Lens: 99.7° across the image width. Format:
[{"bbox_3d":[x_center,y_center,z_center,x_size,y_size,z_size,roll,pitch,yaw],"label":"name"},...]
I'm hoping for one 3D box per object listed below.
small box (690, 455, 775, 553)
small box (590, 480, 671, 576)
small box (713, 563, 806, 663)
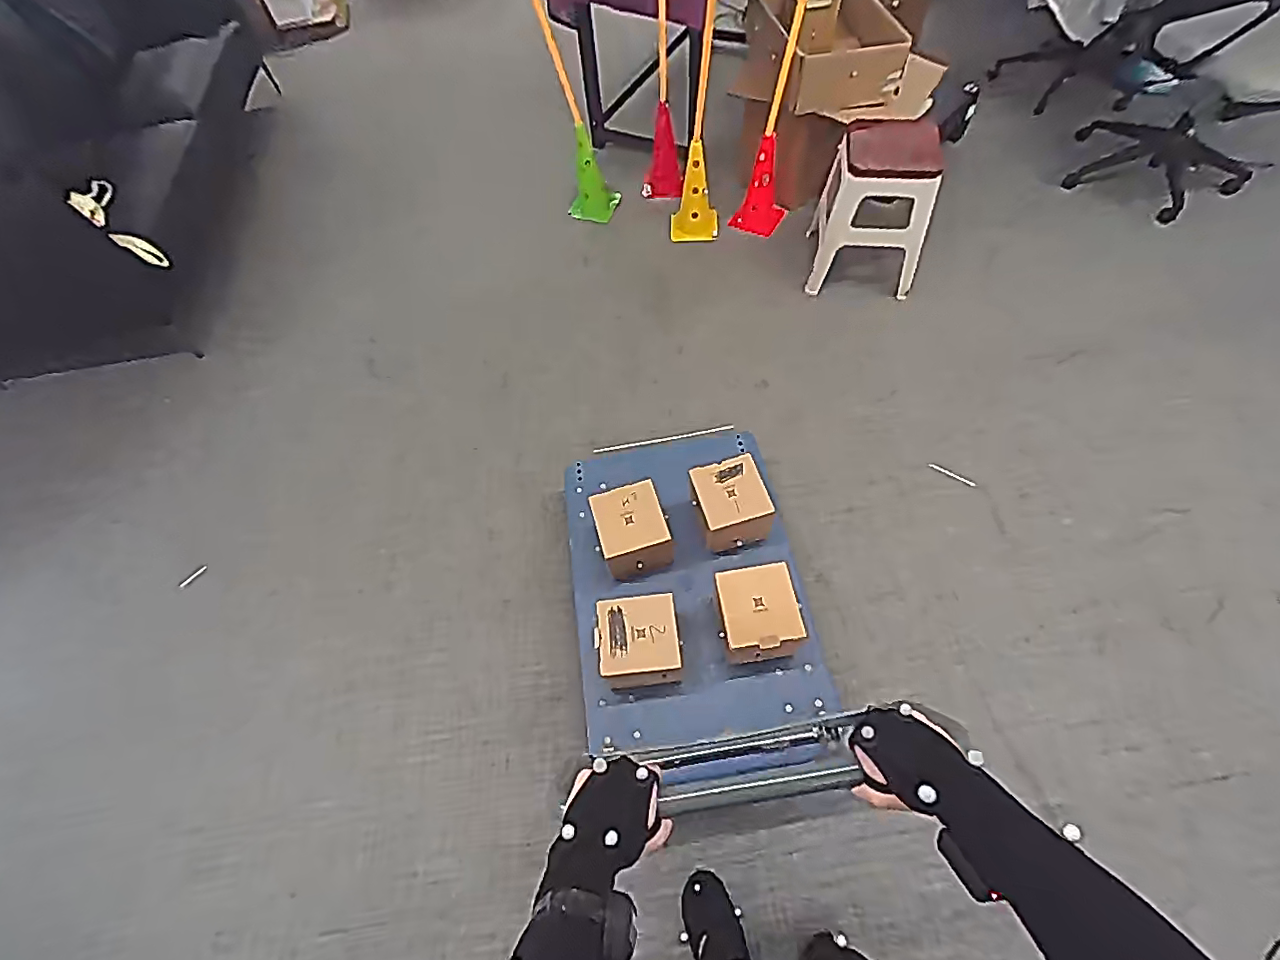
[{"bbox_3d":[0.230,0.066,1.400,0.168,0.176,0.179,-16,62,-3],"label":"small box"},{"bbox_3d":[-0.021,0.131,1.385,0.168,0.176,0.179,-16,61,-5],"label":"small box"},{"bbox_3d":[0.268,0.313,1.261,0.168,0.176,0.179,-9,61,0],"label":"small box"}]
